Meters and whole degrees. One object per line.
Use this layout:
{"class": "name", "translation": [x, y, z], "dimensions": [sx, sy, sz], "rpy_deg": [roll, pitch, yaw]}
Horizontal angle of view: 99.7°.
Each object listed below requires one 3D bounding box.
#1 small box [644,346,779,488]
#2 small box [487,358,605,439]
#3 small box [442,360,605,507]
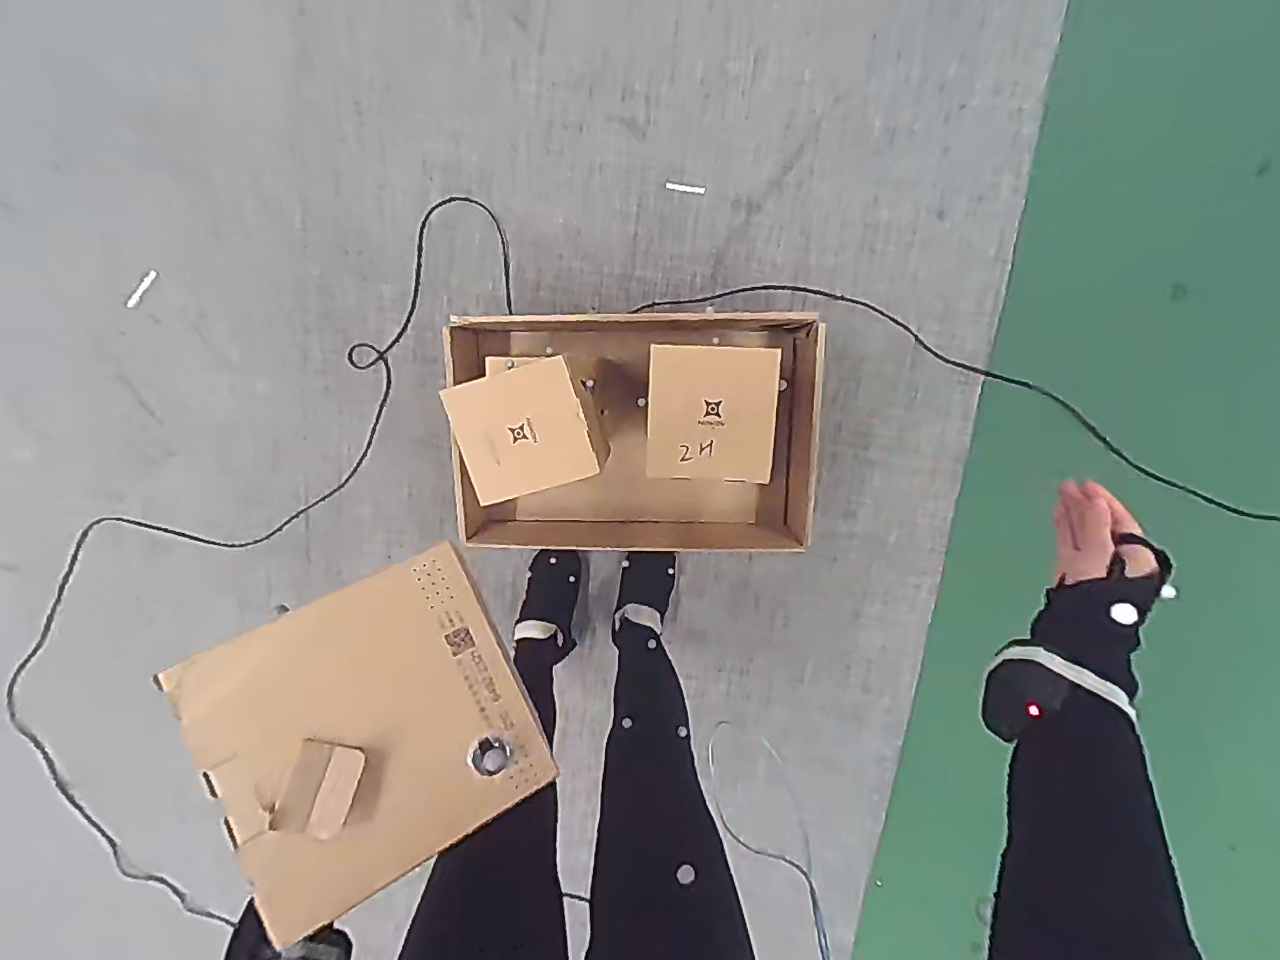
{"class": "small box", "translation": [0.094, -0.095, 0.775], "dimensions": [0.168, 0.176, 0.179], "rpy_deg": [3, 102, 3]}
{"class": "small box", "translation": [-0.157, -0.128, 0.952], "dimensions": [0.179, 0.176, 0.168], "rpy_deg": [1, 103, 1]}
{"class": "small box", "translation": [-0.155, -0.077, 0.796], "dimensions": [0.179, 0.176, 0.168], "rpy_deg": [-15, 102, 6]}
